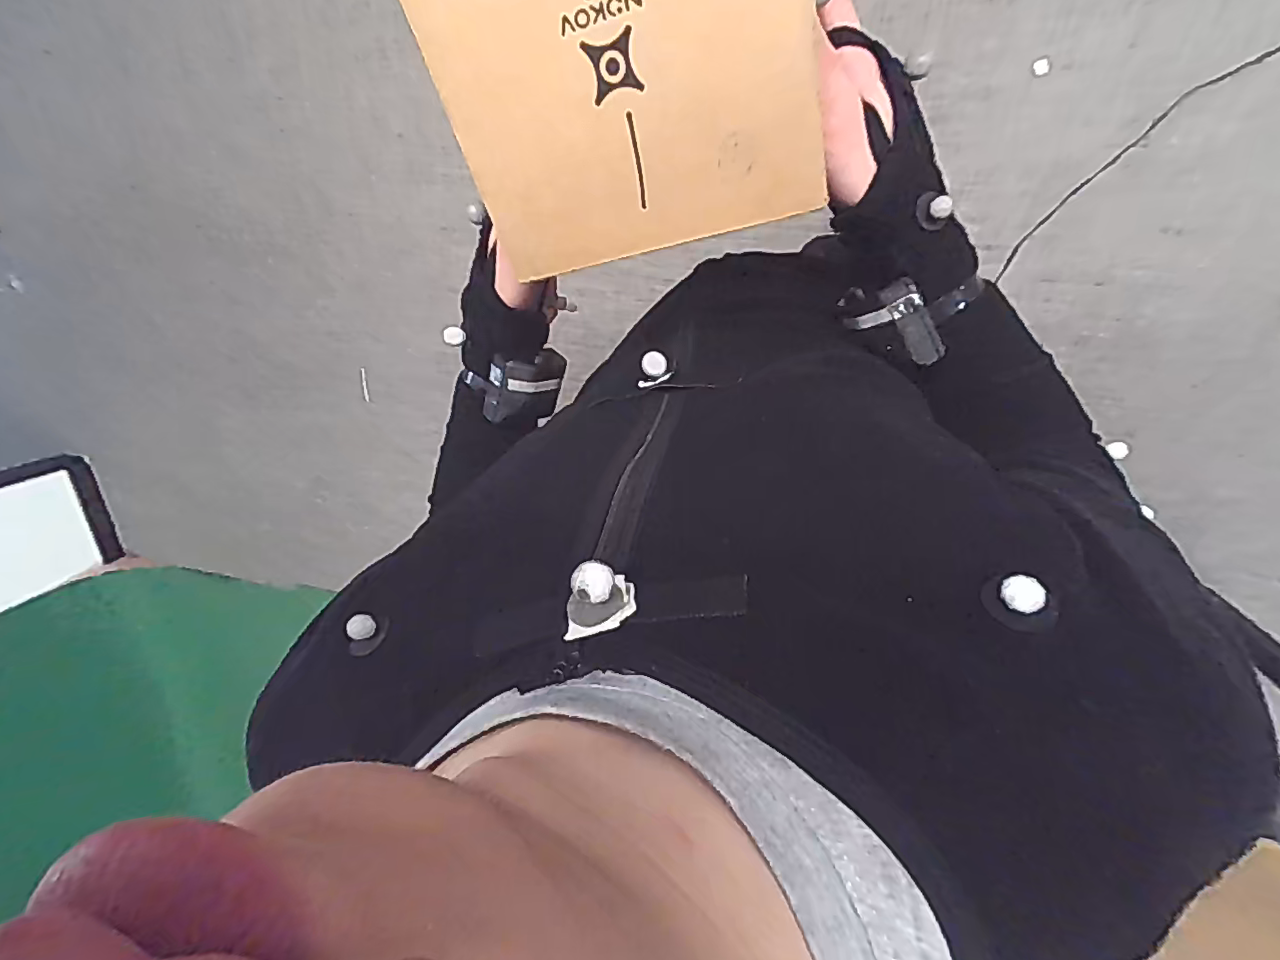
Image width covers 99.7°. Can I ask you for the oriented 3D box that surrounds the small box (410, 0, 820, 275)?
[{"bbox_3d":[-0.002,-0.238,0.290,0.168,0.176,0.179,-7,128,15],"label":"small box"}]
